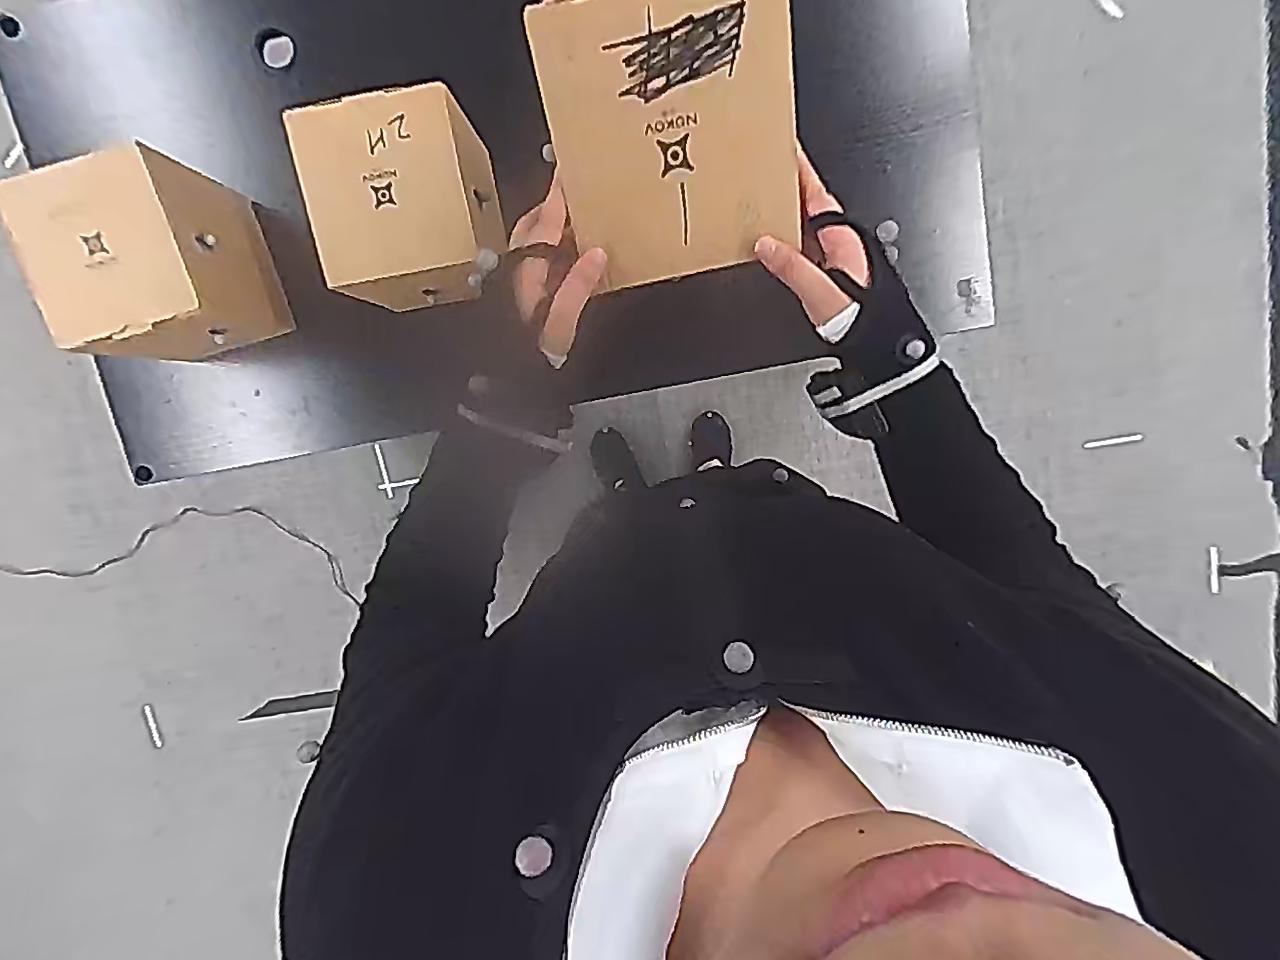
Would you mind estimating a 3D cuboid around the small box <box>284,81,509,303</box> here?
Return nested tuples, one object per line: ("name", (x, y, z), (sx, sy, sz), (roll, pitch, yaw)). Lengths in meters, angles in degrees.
("small box", (-0.262, -0.312, 0.628), (0.168, 0.176, 0.179), (-9, 99, 1))

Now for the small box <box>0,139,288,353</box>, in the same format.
("small box", (-0.564, -0.255, 0.639), (0.168, 0.176, 0.179), (-16, 98, 1))

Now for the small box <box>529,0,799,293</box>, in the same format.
("small box", (0.020, -0.265, 0.438), (0.168, 0.176, 0.179), (-10, 117, 3))
